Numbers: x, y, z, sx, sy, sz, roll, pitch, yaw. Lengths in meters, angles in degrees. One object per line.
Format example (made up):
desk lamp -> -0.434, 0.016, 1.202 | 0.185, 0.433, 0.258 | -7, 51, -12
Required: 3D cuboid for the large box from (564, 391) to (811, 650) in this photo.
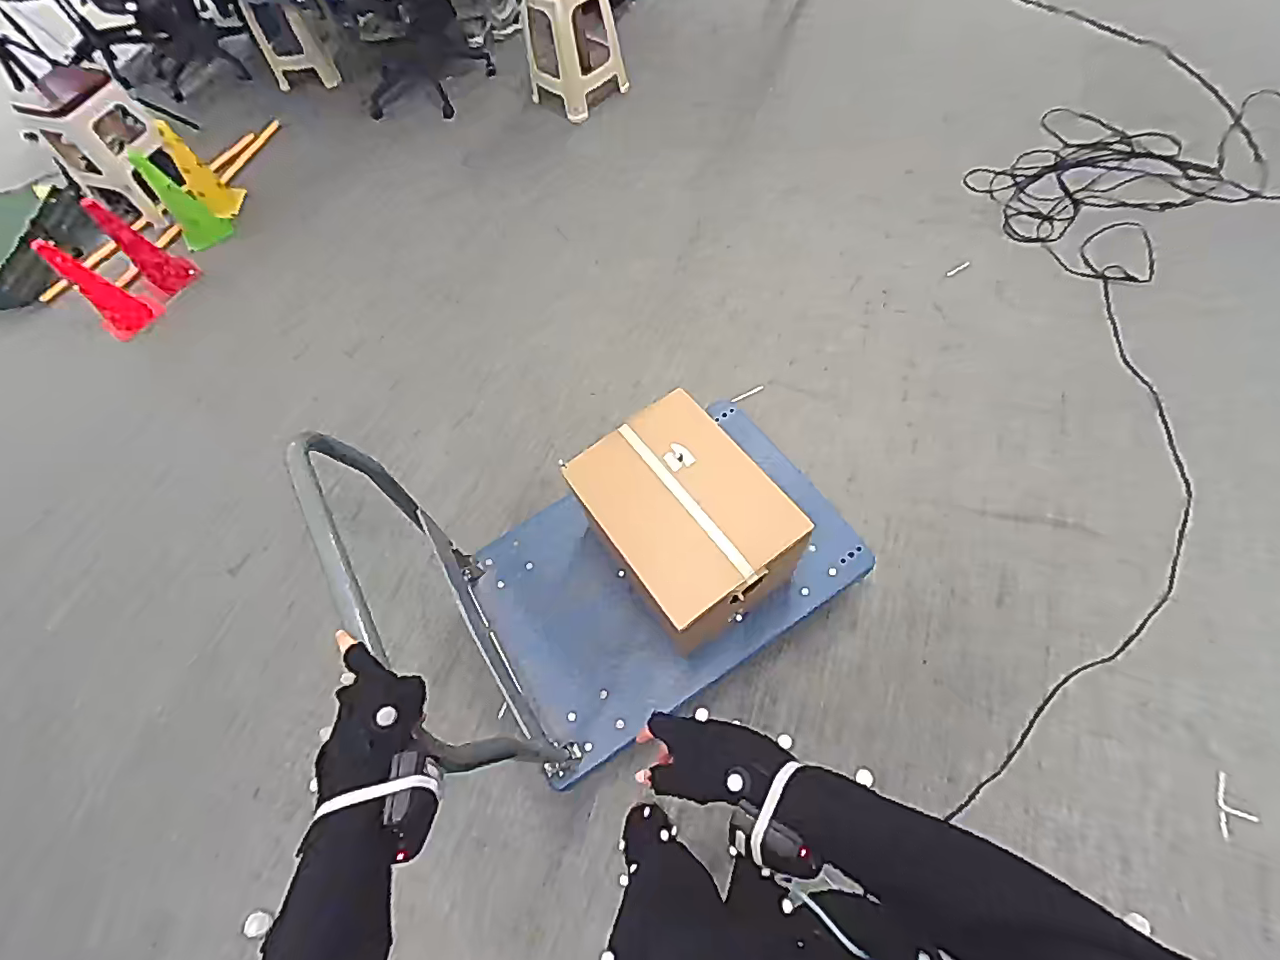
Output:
large box -> 0.101, 0.095, 1.176 | 0.320, 0.320, 0.408 | -35, 63, -10
